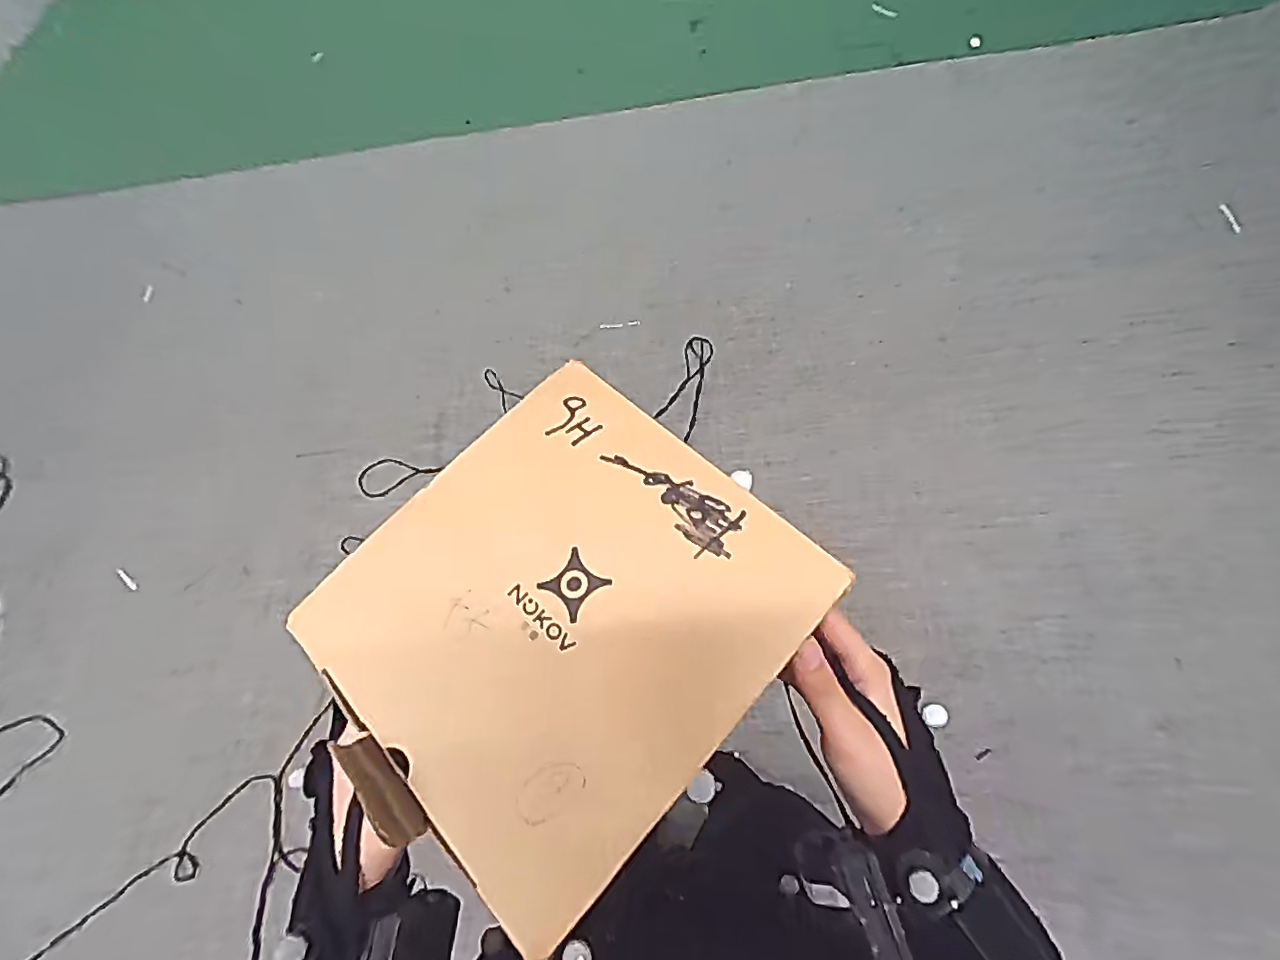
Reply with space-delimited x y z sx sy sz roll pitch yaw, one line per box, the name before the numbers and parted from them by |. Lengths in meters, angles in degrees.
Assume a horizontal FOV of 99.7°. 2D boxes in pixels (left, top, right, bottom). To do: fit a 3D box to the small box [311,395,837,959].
small box | -0.023 0.094 0.304 0.168 0.176 0.179 40 76 20
